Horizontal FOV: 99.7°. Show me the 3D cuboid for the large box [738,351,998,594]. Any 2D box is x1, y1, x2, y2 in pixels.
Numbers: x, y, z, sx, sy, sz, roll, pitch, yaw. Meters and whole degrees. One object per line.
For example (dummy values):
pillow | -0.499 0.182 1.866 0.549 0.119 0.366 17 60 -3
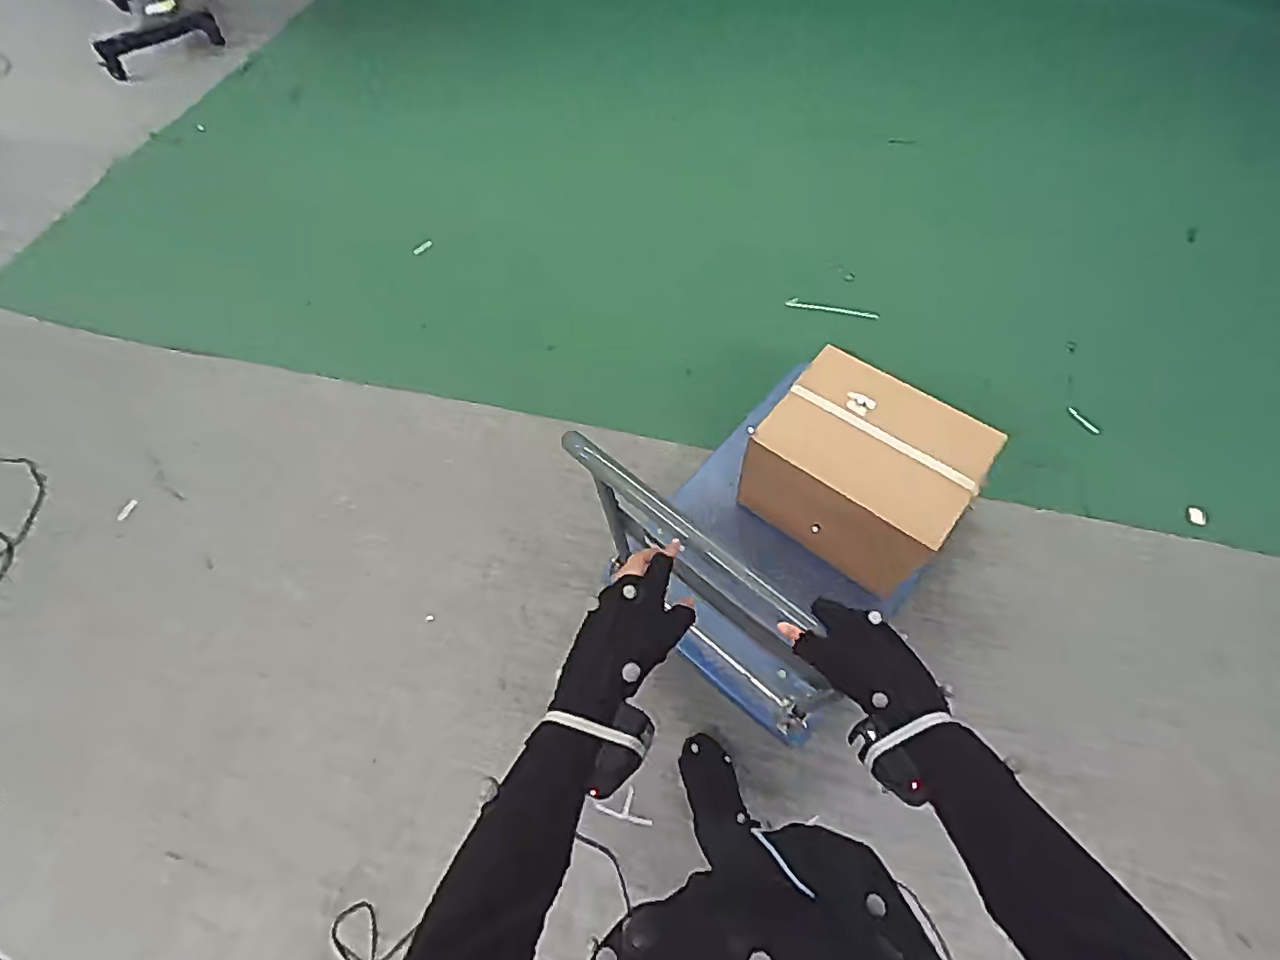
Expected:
large box | 0.478 -0.011 1.219 0.408 0.320 0.320 35 69 22
